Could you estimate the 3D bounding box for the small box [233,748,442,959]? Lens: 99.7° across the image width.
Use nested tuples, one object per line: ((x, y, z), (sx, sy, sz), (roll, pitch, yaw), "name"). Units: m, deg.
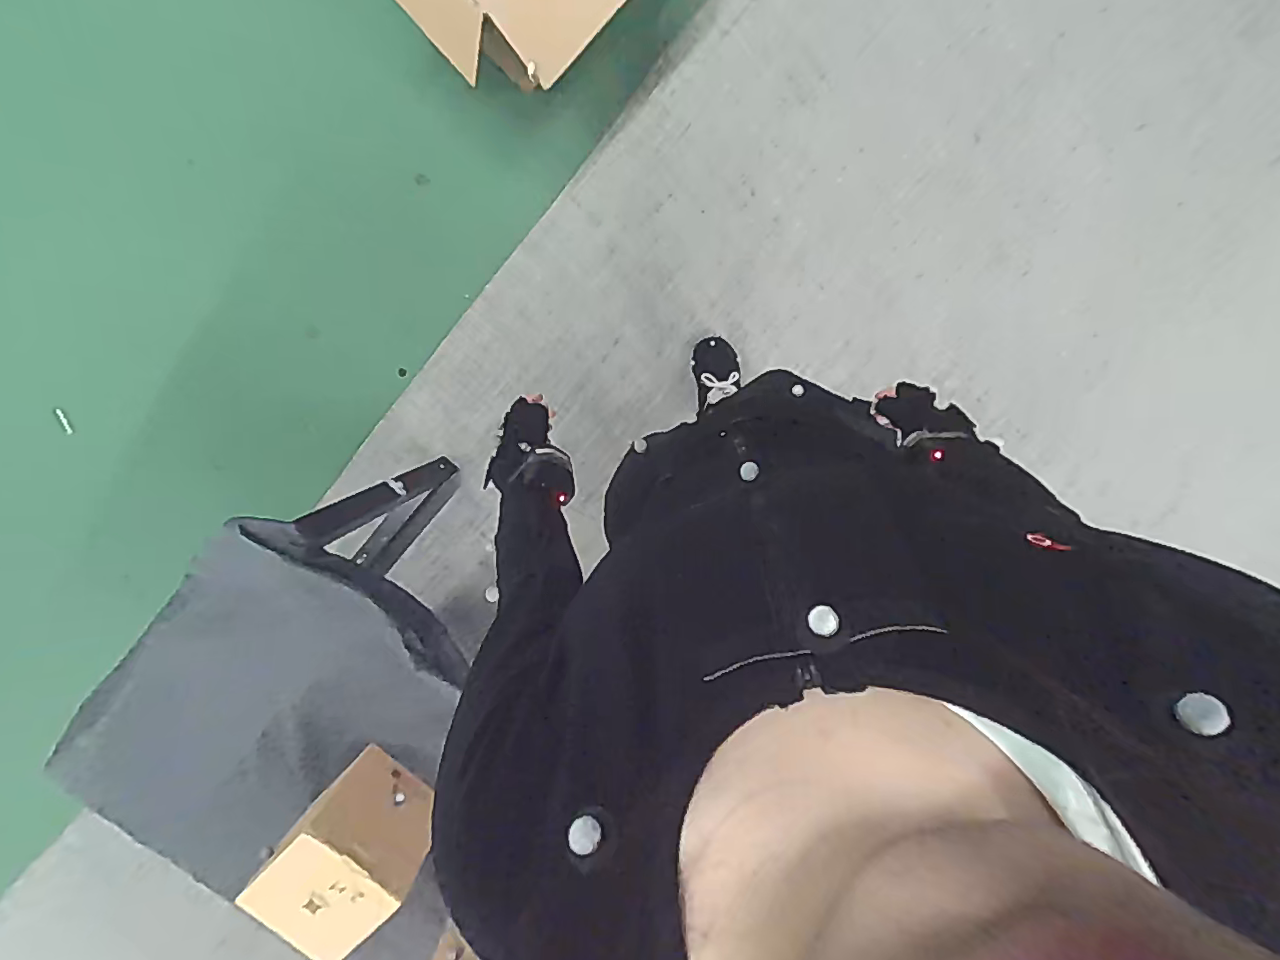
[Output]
((-0.428, 0.547, 0.798), (0.168, 0.176, 0.179), (43, 100, -7), "small box")
